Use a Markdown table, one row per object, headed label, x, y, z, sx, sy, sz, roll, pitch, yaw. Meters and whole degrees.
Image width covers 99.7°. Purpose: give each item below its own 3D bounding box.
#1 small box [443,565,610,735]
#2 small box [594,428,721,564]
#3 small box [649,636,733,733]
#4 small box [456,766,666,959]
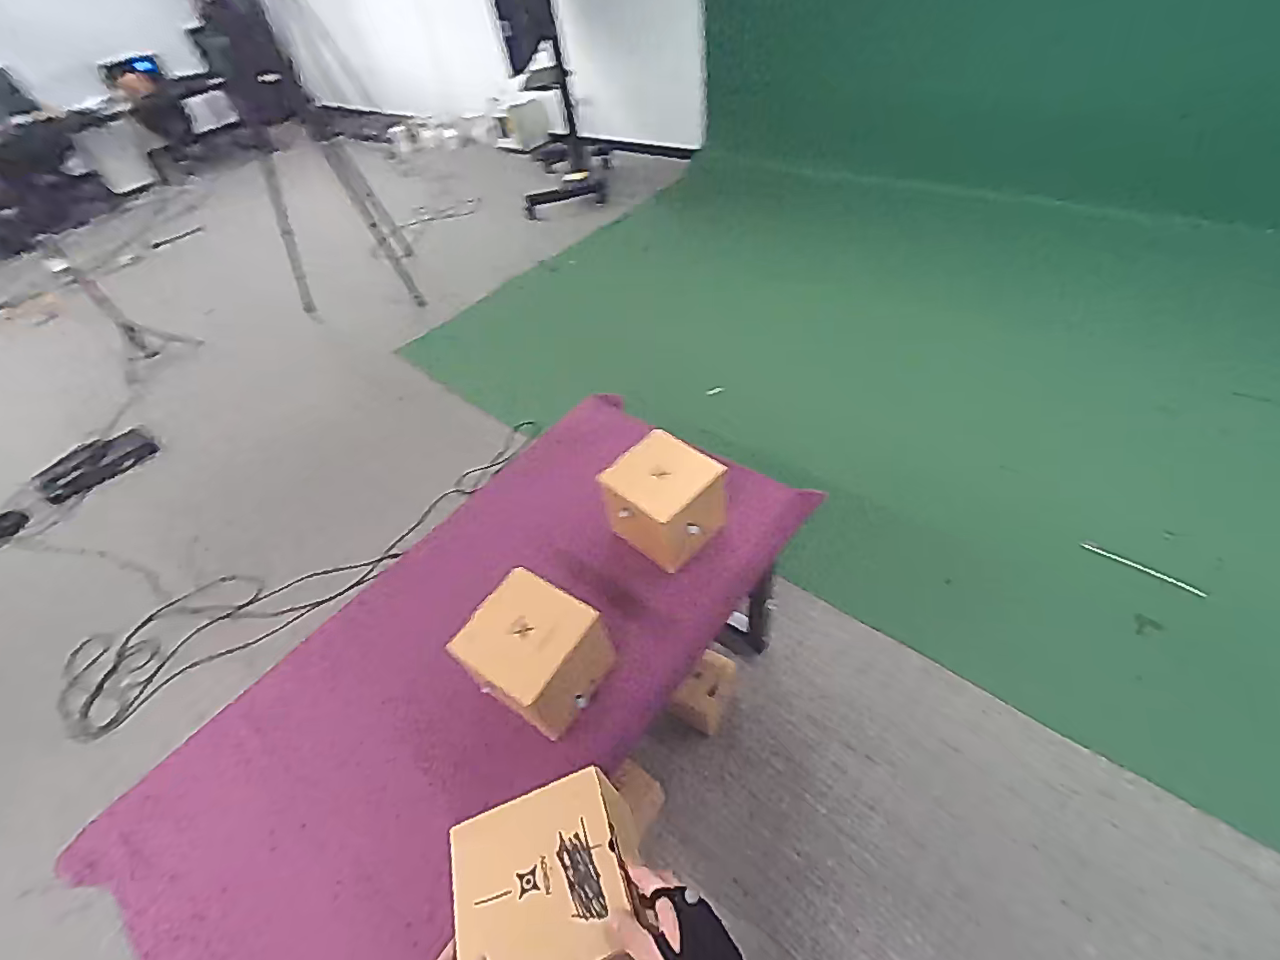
| label | x | y | z | sx | sy | sz | roll | pitch | yaw |
| --- | --- | --- | --- | --- | --- | --- | --- | --- | --- |
| small box | -0.171 | 0.274 | 0.865 | 0.179 | 0.176 | 0.168 | 23 | 56 | 28 |
| small box | 0.043 | 0.037 | 1.043 | 0.179 | 0.176 | 0.168 | 33 | 61 | 34 |
| small box | 0.148 | 0.579 | 1.520 | 0.179 | 0.176 | 0.168 | 21 | 54 | 26 |
| small box | -0.079 | 0.449 | 0.587 | 0.179 | 0.176 | 0.168 | -21 | 43 | -4 |
